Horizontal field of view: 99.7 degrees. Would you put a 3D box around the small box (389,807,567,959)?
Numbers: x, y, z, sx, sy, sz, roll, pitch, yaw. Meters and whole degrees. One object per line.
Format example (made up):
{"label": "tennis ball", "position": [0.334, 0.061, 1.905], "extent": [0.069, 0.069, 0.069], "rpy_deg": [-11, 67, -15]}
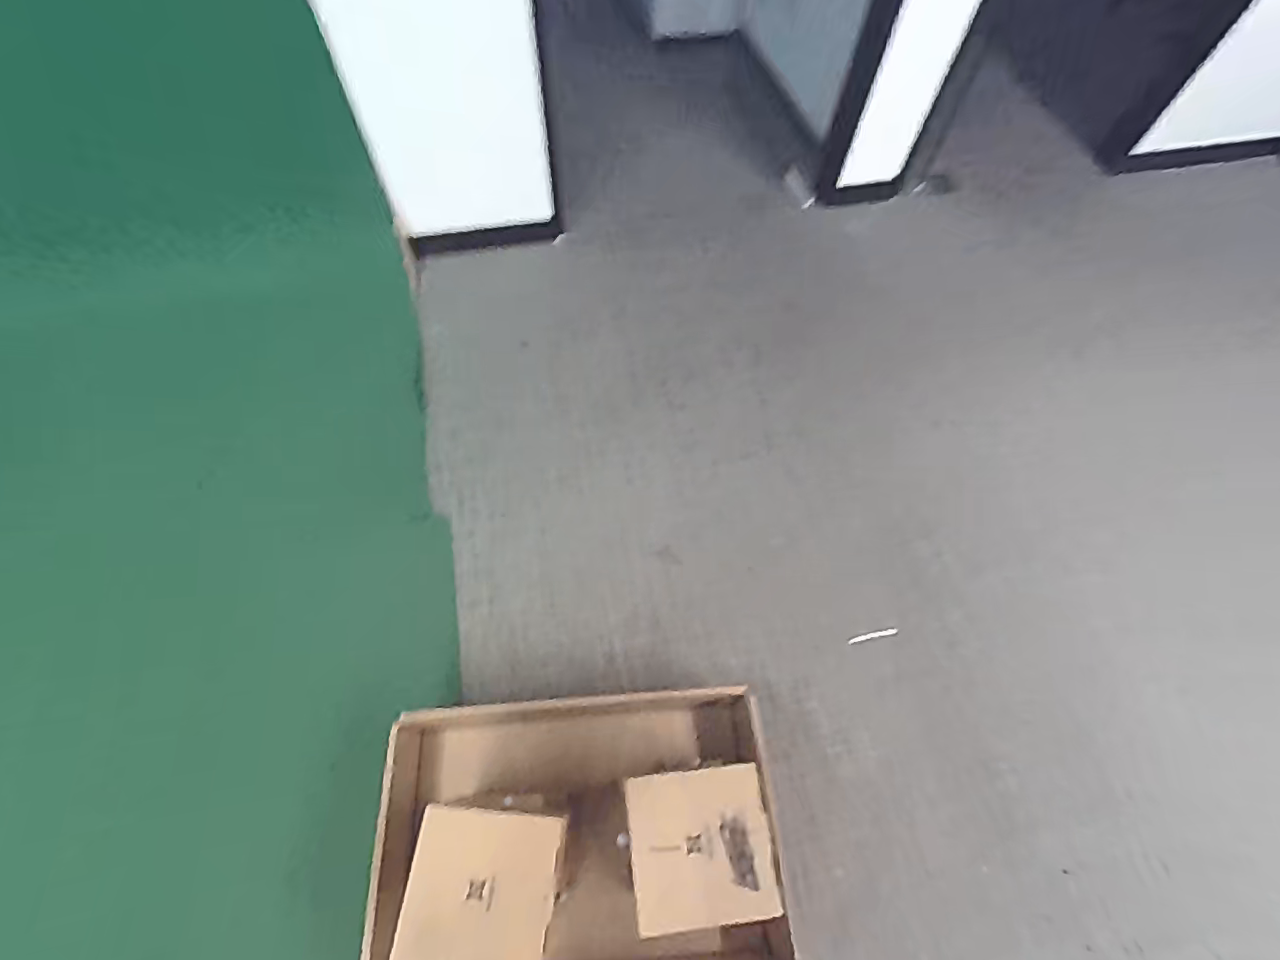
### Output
{"label": "small box", "position": [-0.196, 0.533, 0.709], "extent": [0.179, 0.176, 0.168], "rpy_deg": [7, 60, -2]}

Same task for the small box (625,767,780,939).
{"label": "small box", "position": [0.072, 0.495, 0.743], "extent": [0.179, 0.176, 0.168], "rpy_deg": [-4, 62, -3]}
